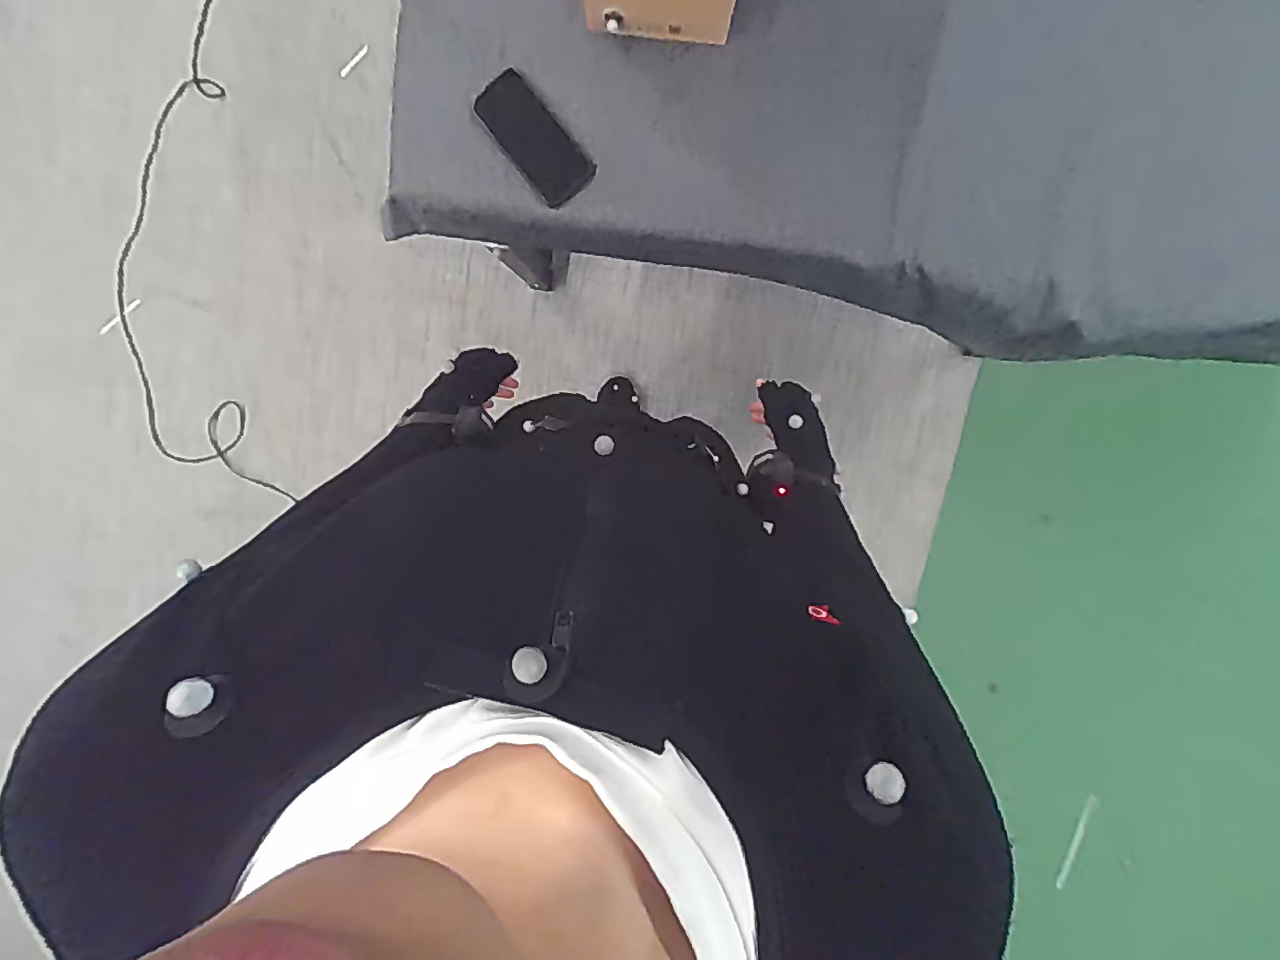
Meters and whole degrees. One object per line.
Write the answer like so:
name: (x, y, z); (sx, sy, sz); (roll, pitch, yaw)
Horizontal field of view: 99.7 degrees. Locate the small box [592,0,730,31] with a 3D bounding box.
small box: (0.026, -0.603, 0.544); (0.168, 0.176, 0.179); (6, 99, -1)
